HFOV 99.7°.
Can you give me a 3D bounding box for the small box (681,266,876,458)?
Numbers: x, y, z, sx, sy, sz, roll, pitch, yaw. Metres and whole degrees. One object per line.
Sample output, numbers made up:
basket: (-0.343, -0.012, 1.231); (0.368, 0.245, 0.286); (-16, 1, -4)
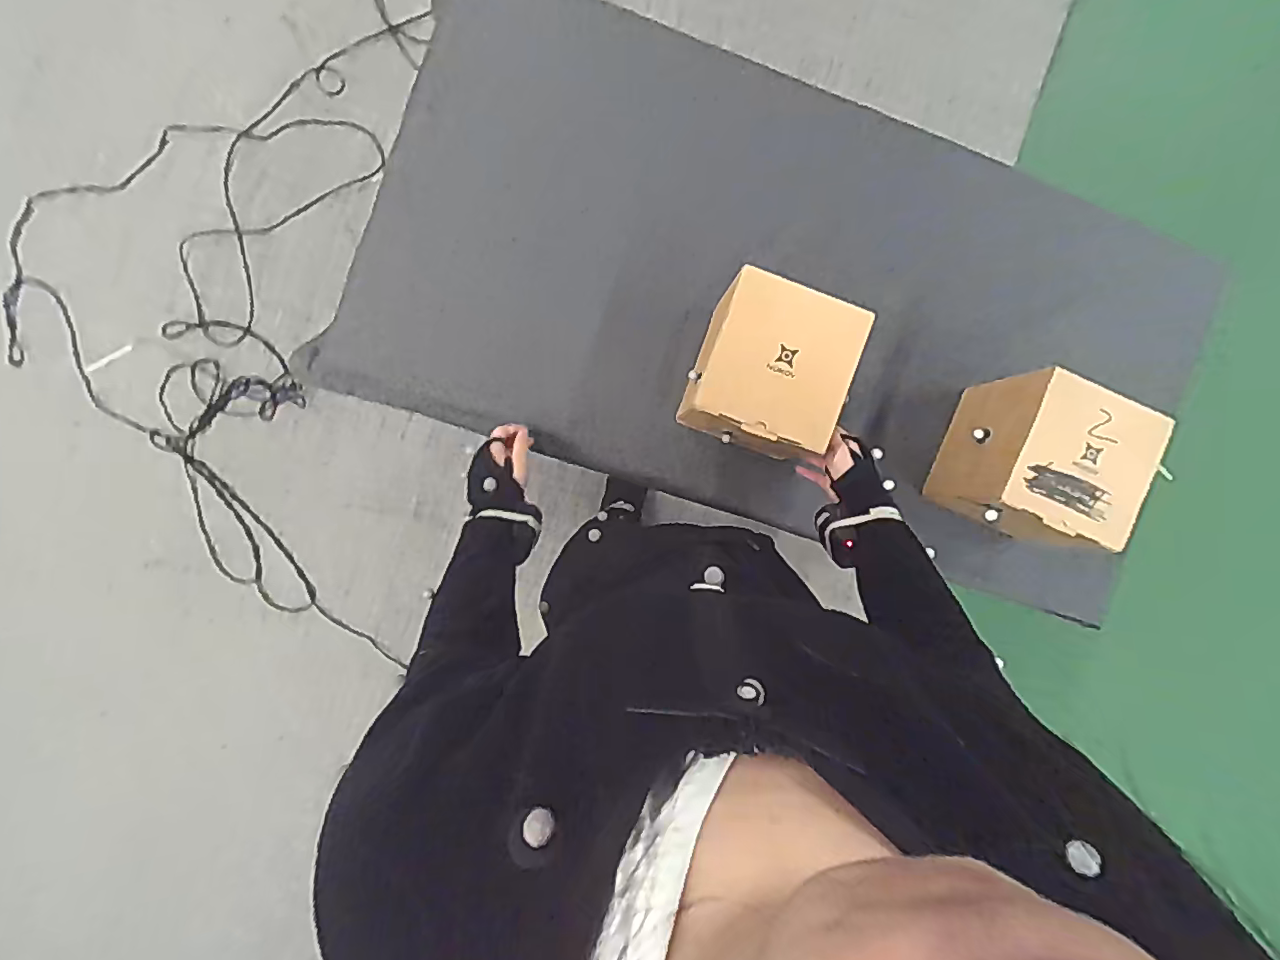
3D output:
small box: (0.162, -0.136, 0.692); (0.168, 0.176, 0.179); (19, 90, -5)
